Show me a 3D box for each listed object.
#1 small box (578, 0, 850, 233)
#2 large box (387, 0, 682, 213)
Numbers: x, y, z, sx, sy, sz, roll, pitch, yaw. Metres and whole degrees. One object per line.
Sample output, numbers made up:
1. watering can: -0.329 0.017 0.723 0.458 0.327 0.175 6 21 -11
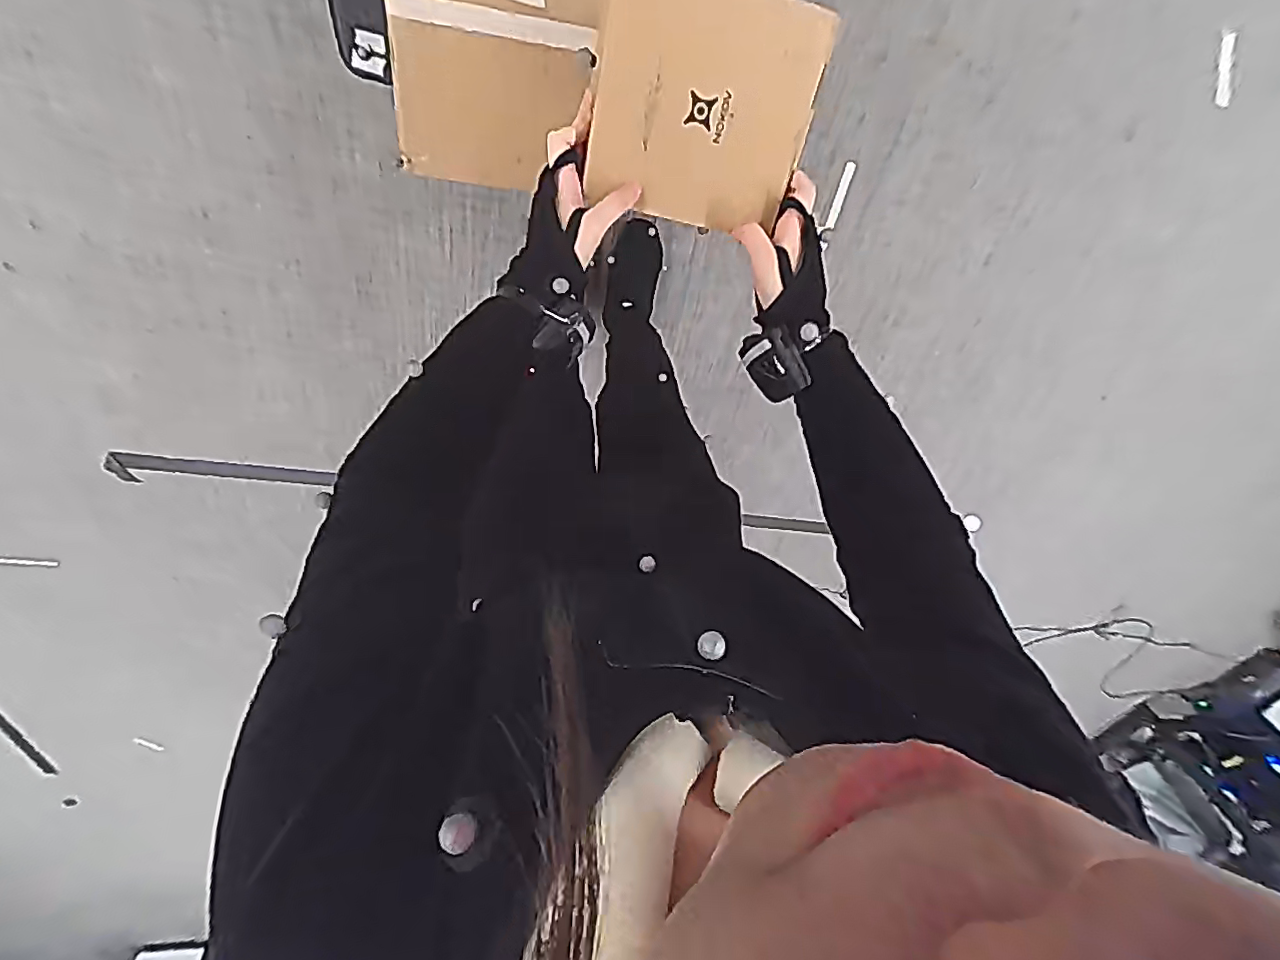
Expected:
1. small box: 0.045 -0.343 0.486 0.179 0.176 0.168 8 124 -13
2. large box: -0.071 -0.563 0.687 0.408 0.320 0.320 4 128 -10
